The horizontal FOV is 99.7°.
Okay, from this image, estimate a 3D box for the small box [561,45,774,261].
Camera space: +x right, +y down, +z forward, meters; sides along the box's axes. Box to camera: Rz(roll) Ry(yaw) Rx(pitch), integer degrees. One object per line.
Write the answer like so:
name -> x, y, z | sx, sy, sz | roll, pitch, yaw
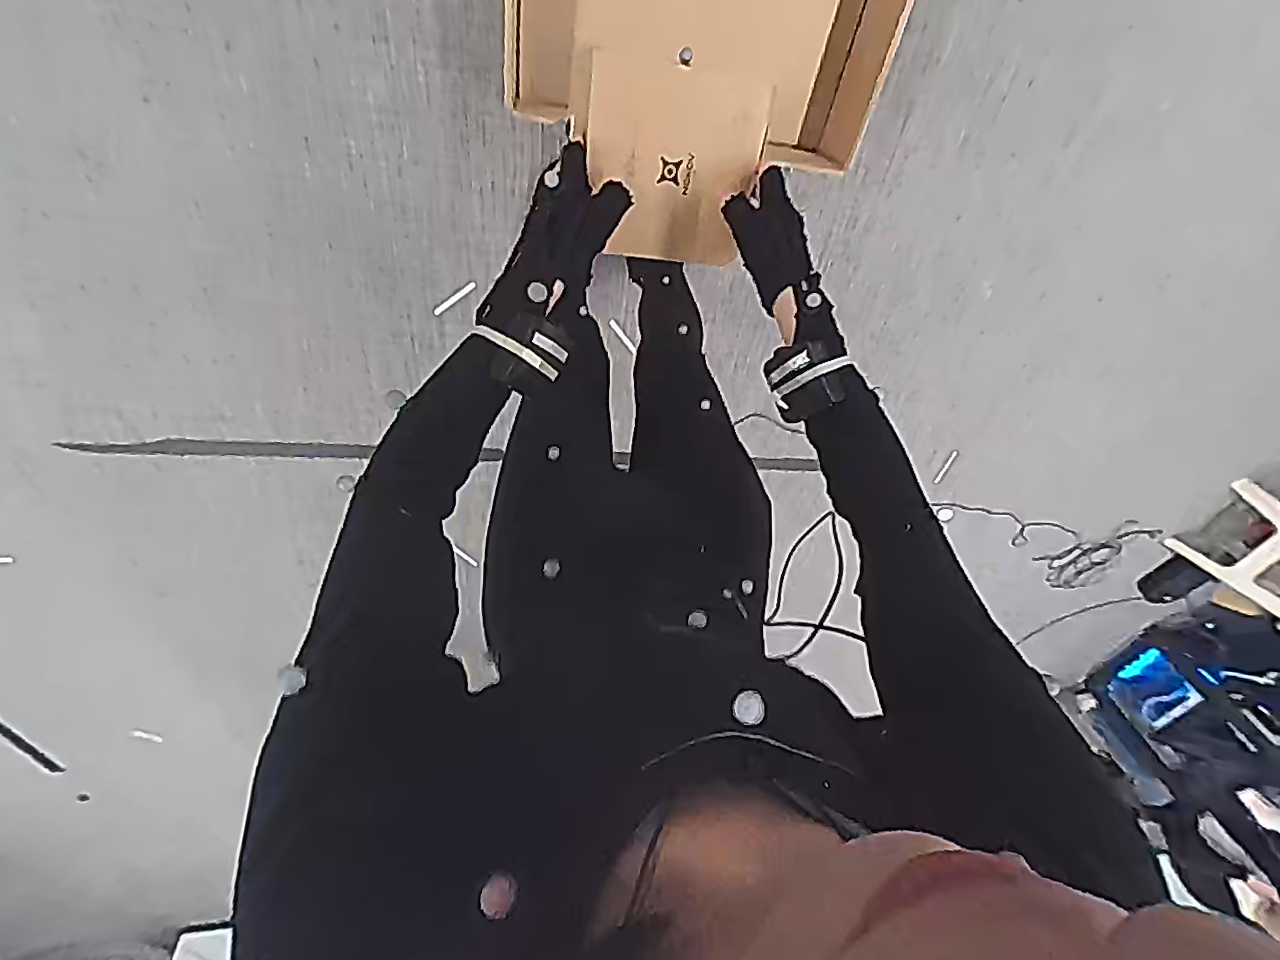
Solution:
small box -> 0.014, -0.353, 0.589 | 0.179, 0.176, 0.168 | -1, 125, -15
